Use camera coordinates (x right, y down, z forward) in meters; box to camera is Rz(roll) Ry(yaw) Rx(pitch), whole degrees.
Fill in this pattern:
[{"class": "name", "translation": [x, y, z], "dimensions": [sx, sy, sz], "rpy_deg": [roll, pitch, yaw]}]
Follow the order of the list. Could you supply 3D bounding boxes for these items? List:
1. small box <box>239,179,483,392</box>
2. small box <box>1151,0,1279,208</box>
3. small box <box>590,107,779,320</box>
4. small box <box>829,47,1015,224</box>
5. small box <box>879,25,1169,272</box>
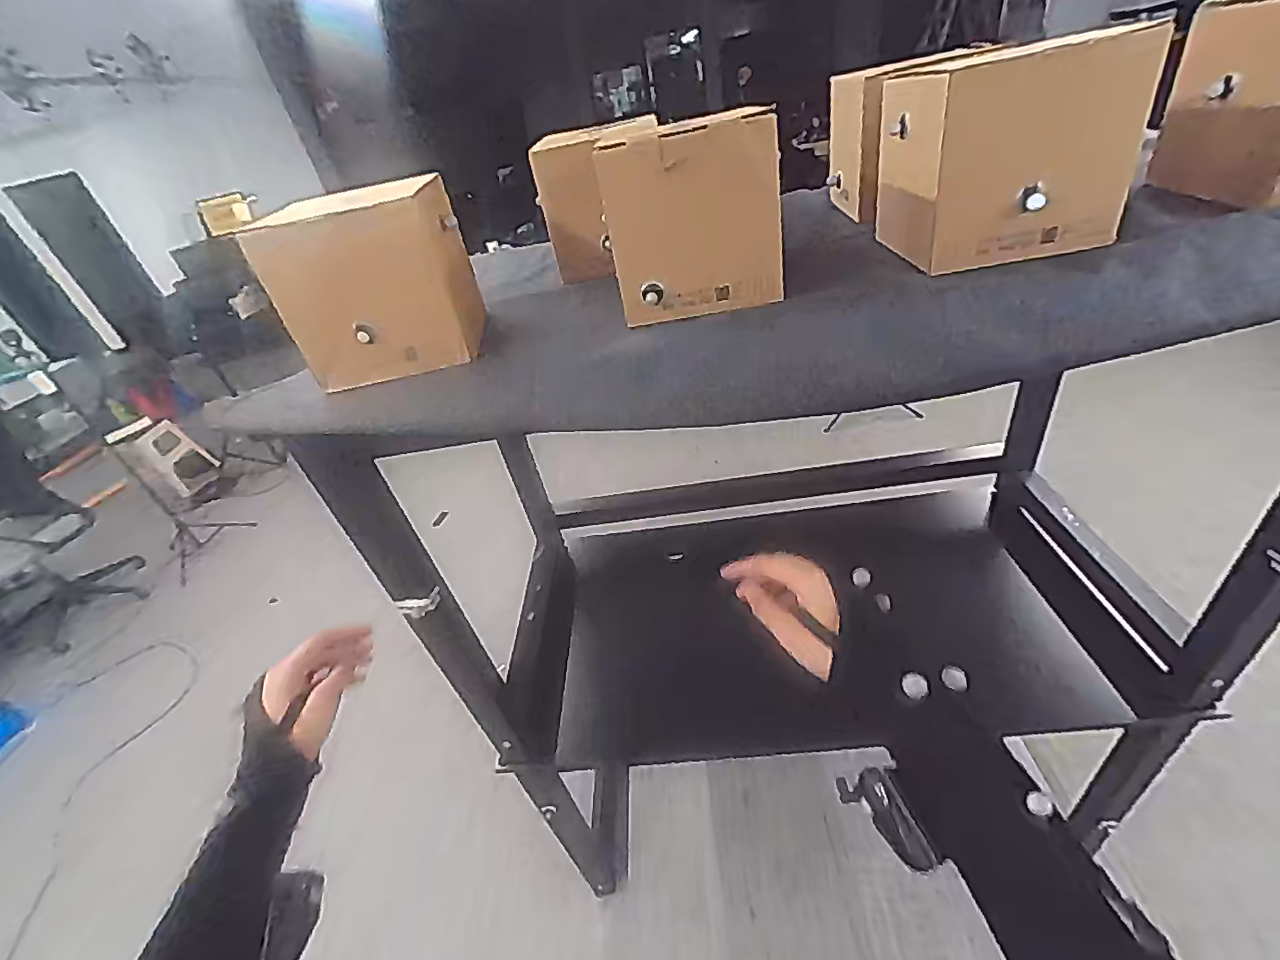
[{"class": "small box", "translation": [-0.285, -0.219, 0.604], "dimensions": [0.168, 0.176, 0.179], "rpy_deg": [-13, 37, -1]}, {"class": "small box", "translation": [0.654, -0.372, 0.515], "dimensions": [0.168, 0.176, 0.179], "rpy_deg": [-7, 35, 10]}, {"class": "small box", "translation": [0.053, -0.283, 0.586], "dimensions": [0.168, 0.176, 0.179], "rpy_deg": [-7, 34, 8]}, {"class": "small box", "translation": [0.368, -0.470, 0.745], "dimensions": [0.179, 0.176, 0.168], "rpy_deg": [-7, 35, 8]}, {"class": "small box", "translation": [0.350, -0.322, 0.543], "dimensions": [0.168, 0.176, 0.179], "rpy_deg": [-8, 34, 9]}]
